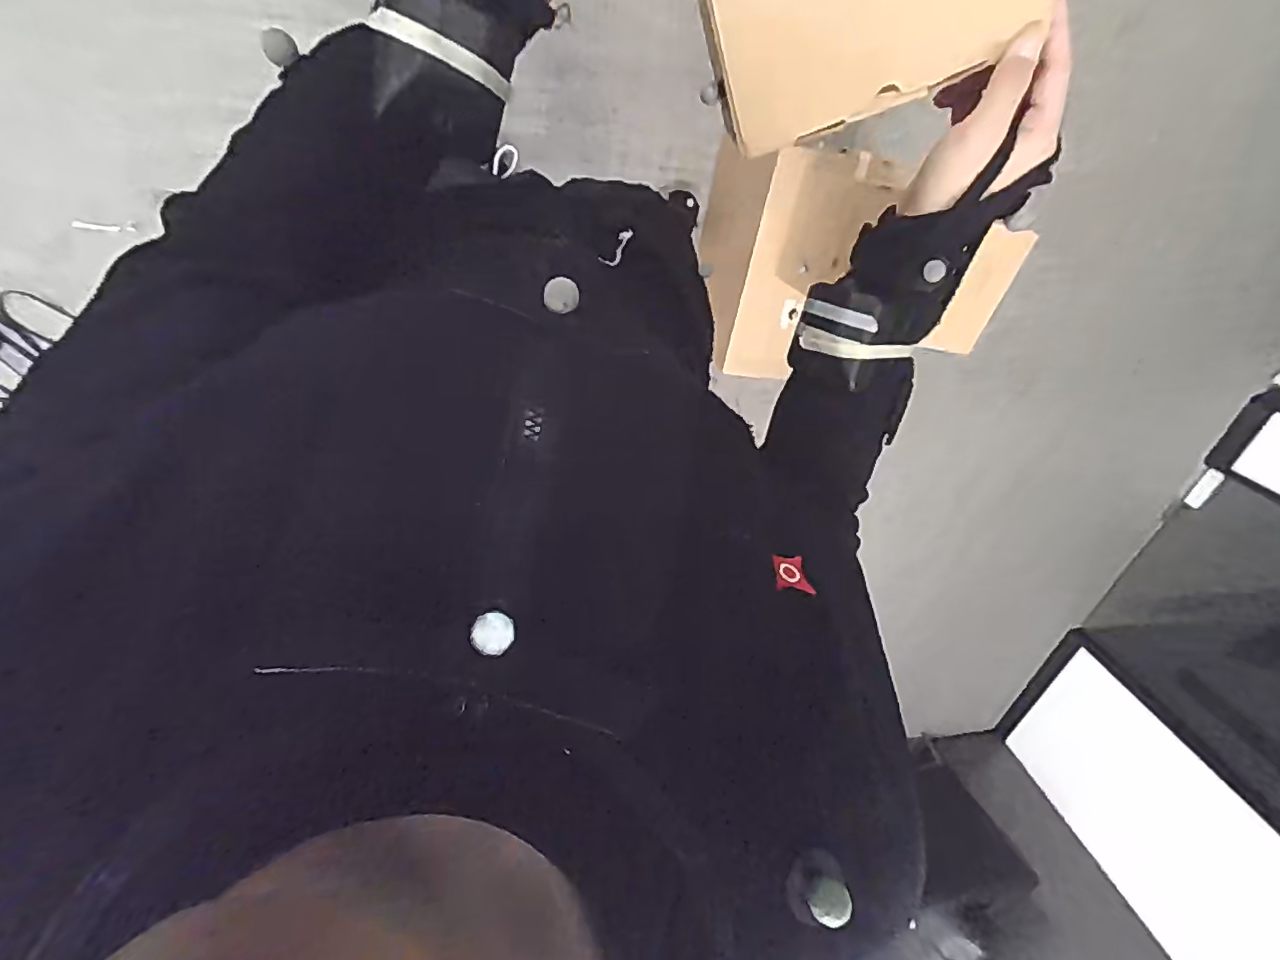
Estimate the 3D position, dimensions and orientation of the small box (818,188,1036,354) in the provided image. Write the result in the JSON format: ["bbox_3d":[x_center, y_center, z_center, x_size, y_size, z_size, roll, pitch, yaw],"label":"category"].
[{"bbox_3d":[0.383,-0.297,0.761,0.179,0.176,0.168,3,126,-16],"label":"small box"}]

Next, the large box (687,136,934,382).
[{"bbox_3d":[0.316,-0.461,1.136,0.320,0.320,0.408,2,125,-13],"label":"large box"}]
